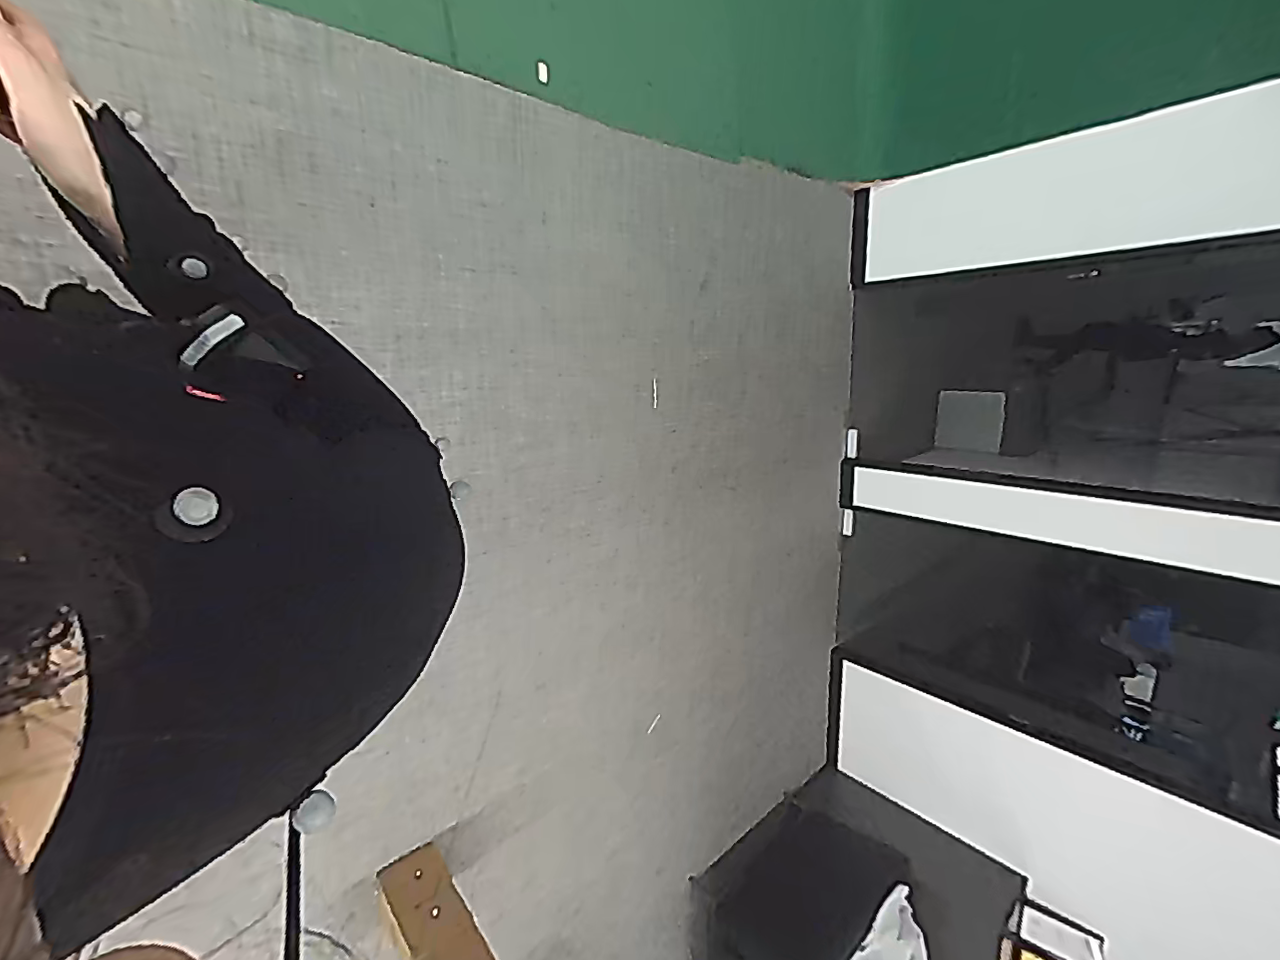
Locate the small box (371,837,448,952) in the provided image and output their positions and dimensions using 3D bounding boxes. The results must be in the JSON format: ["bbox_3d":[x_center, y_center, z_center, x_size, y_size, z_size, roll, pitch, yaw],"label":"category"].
[{"bbox_3d":[-0.691,1.234,1.622,0.179,0.176,0.168,-11,107,-41],"label":"small box"}]

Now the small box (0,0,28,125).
[{"bbox_3d":[-0.442,-0.289,0.258,0.168,0.176,0.179,-13,121,-40],"label":"small box"}]

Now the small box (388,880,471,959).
[{"bbox_3d":[-0.585,1.263,1.499,0.168,0.176,0.179,-10,106,-40],"label":"small box"}]
